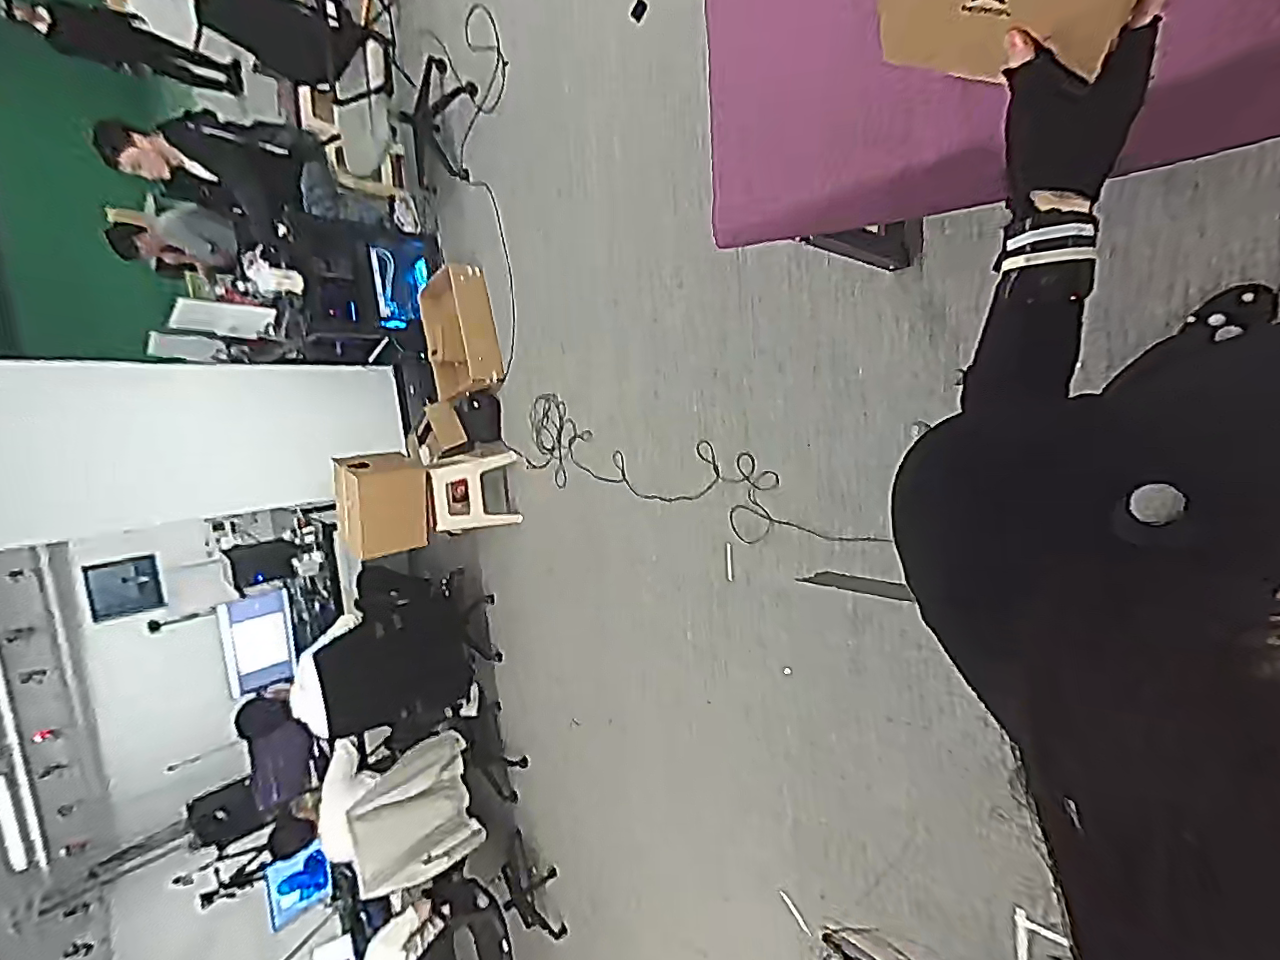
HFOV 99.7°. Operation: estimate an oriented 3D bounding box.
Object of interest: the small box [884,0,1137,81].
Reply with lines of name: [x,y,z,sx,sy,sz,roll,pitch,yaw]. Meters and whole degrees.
small box: [0.280,-0.418,0.359,0.168,0.179,0.176,32,103,27]
